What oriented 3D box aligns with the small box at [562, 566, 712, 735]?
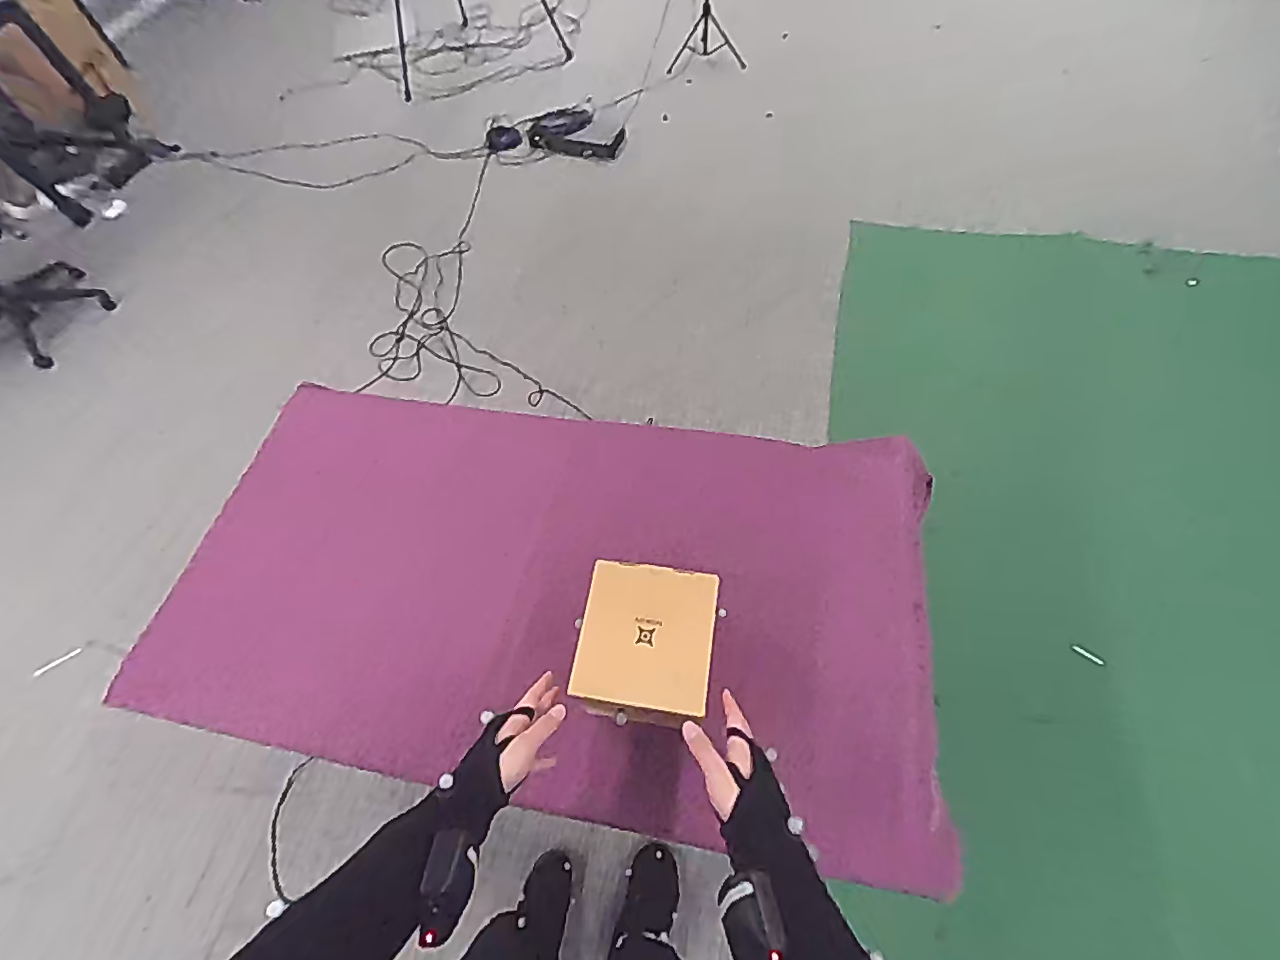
[{"bbox_3d":[0.007,0.238,0.741,0.168,0.176,0.179,6,59,8],"label":"small box"}]
